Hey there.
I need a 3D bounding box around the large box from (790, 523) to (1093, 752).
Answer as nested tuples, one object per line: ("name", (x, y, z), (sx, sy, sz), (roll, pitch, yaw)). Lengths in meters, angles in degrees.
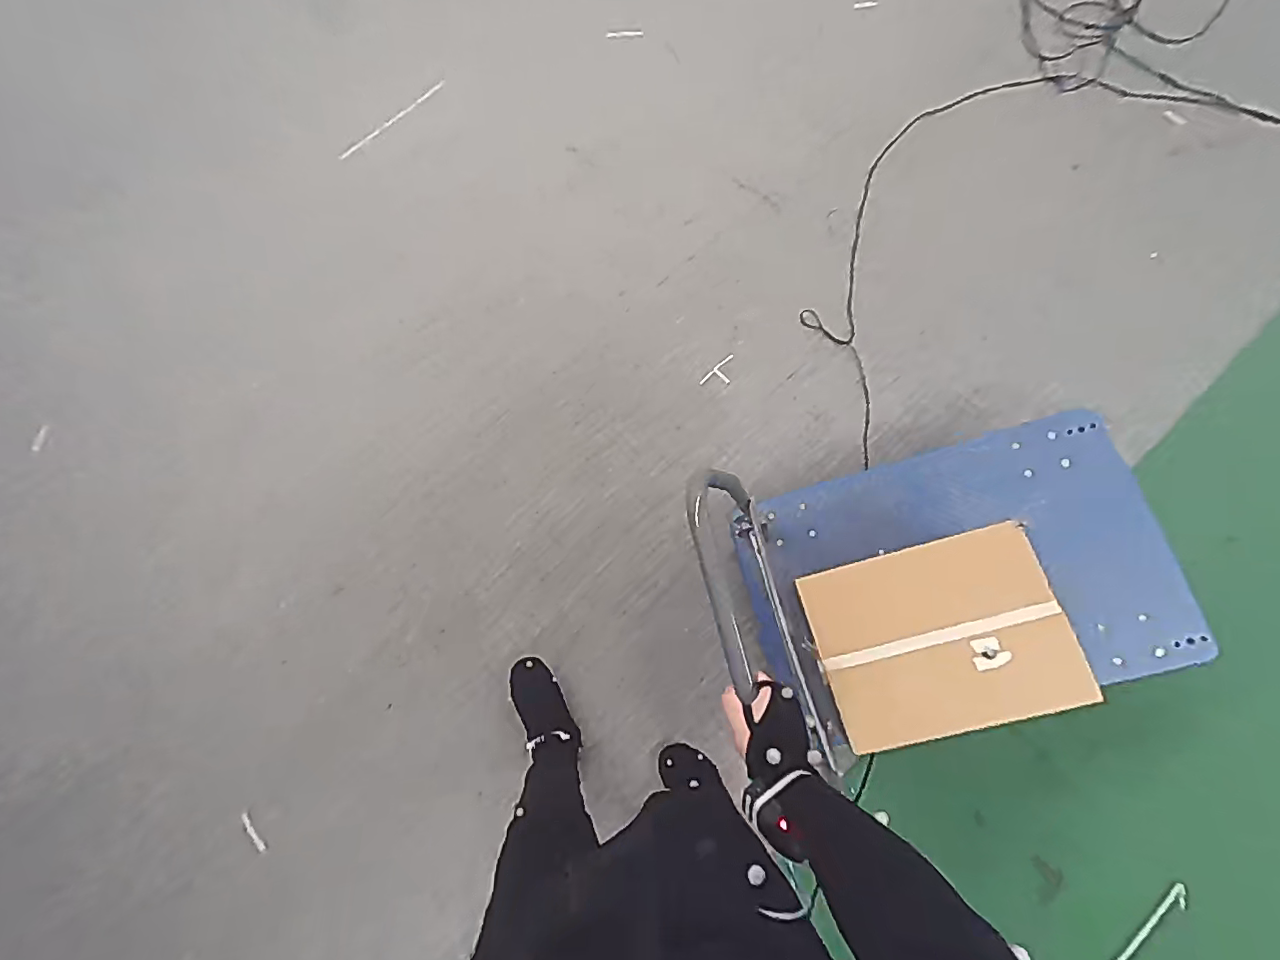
("large box", (0.552, 0.311, 1.094), (0.408, 0.320, 0.320), (-17, 74, 8))
